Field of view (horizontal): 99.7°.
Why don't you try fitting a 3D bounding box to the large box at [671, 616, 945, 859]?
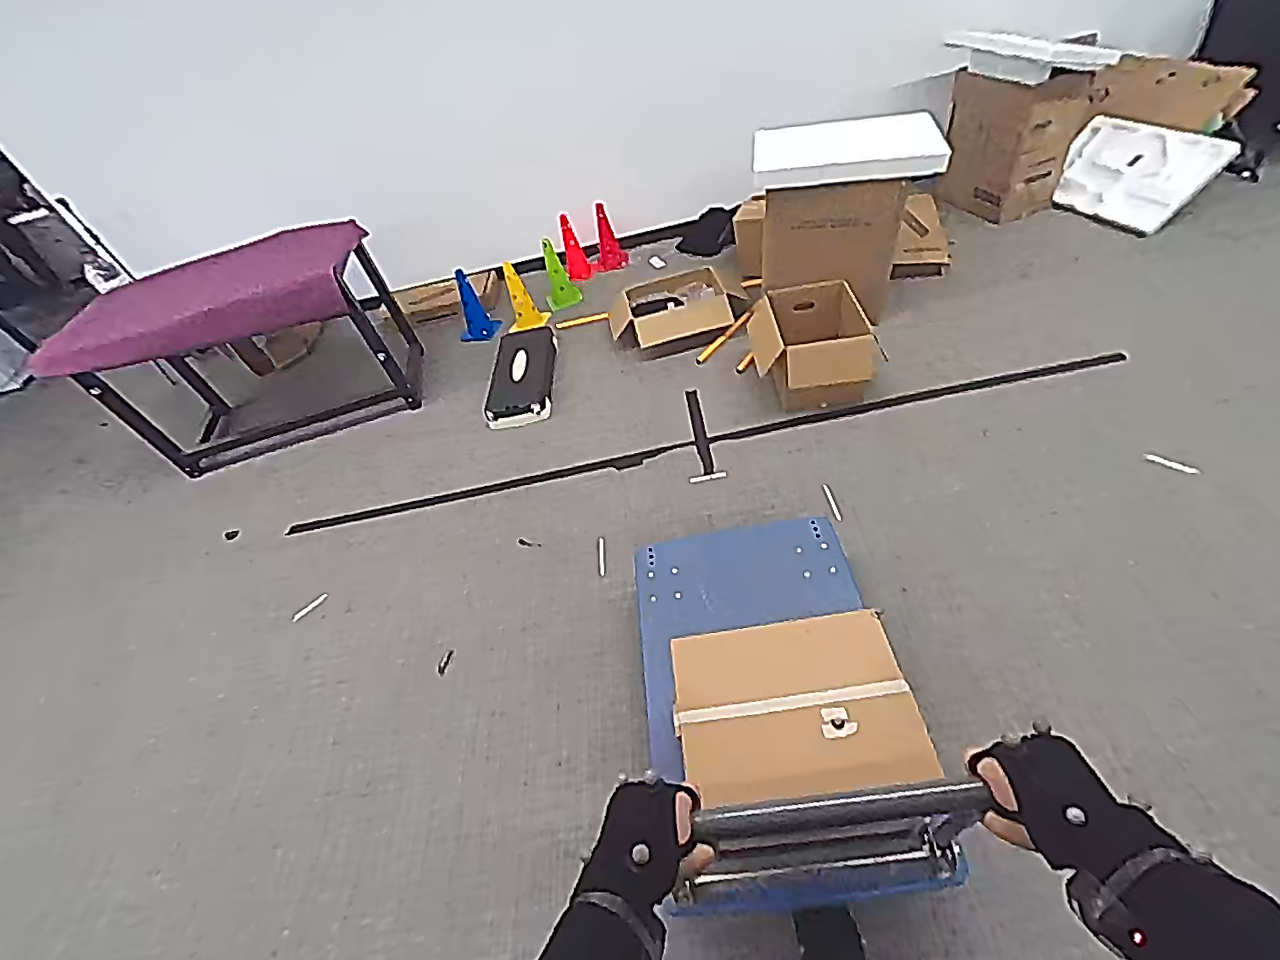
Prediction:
[{"bbox_3d":[0.291,0.506,1.055,0.408,0.320,0.320,-10,46,4],"label":"large box"}]
